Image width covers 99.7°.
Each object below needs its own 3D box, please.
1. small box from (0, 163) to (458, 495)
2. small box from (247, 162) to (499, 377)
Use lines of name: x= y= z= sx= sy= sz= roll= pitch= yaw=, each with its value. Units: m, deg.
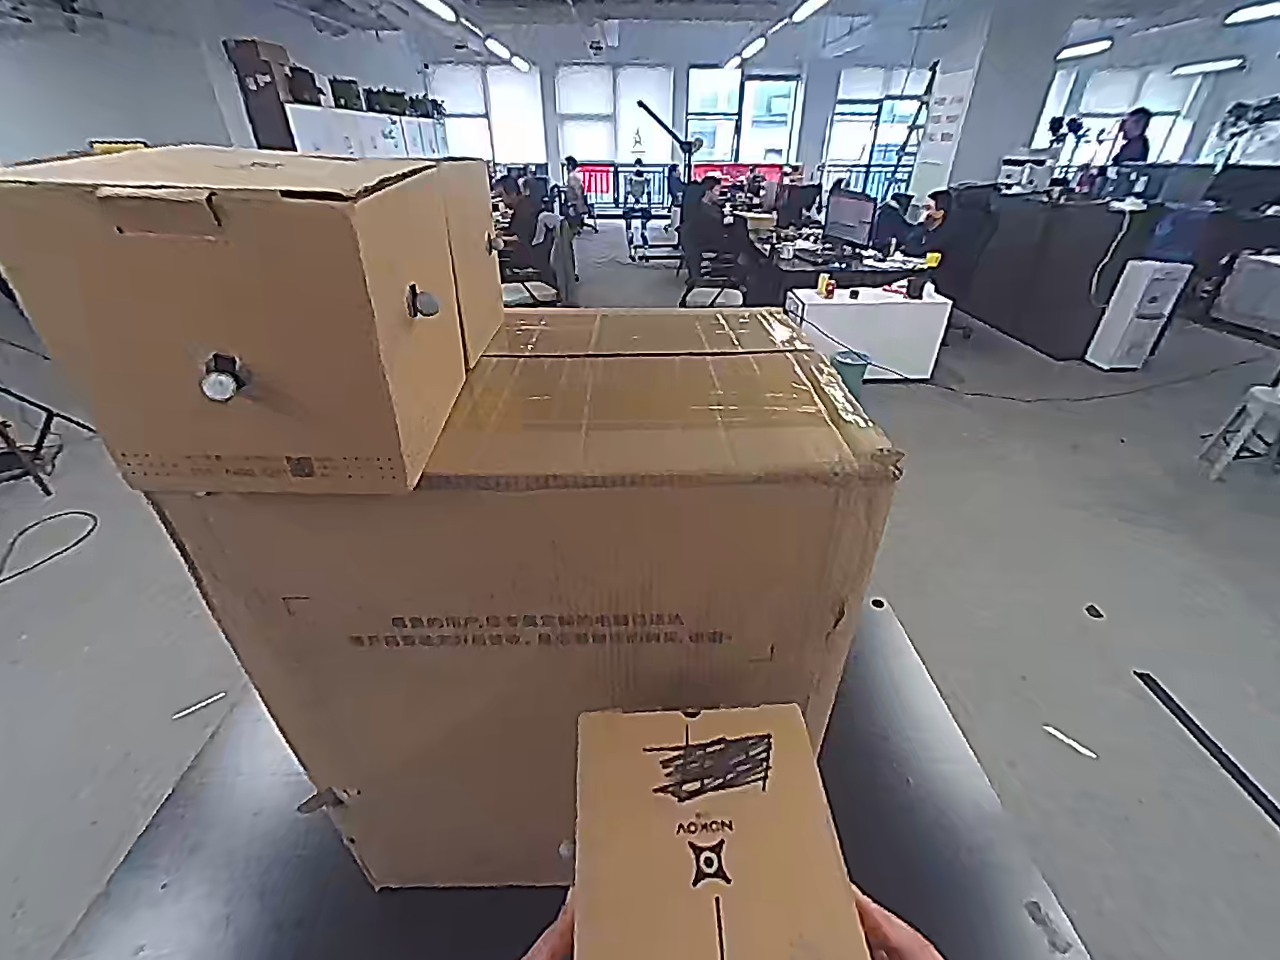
small box: x=-0.226 y=-0.102 z=0.355 sx=0.168 sy=0.176 sz=0.179 roll=0 pitch=34 yaw=-5
small box: x=-0.238 y=-0.204 z=0.518 sx=0.168 sy=0.176 sz=0.179 roll=-2 pitch=31 yaw=-2
